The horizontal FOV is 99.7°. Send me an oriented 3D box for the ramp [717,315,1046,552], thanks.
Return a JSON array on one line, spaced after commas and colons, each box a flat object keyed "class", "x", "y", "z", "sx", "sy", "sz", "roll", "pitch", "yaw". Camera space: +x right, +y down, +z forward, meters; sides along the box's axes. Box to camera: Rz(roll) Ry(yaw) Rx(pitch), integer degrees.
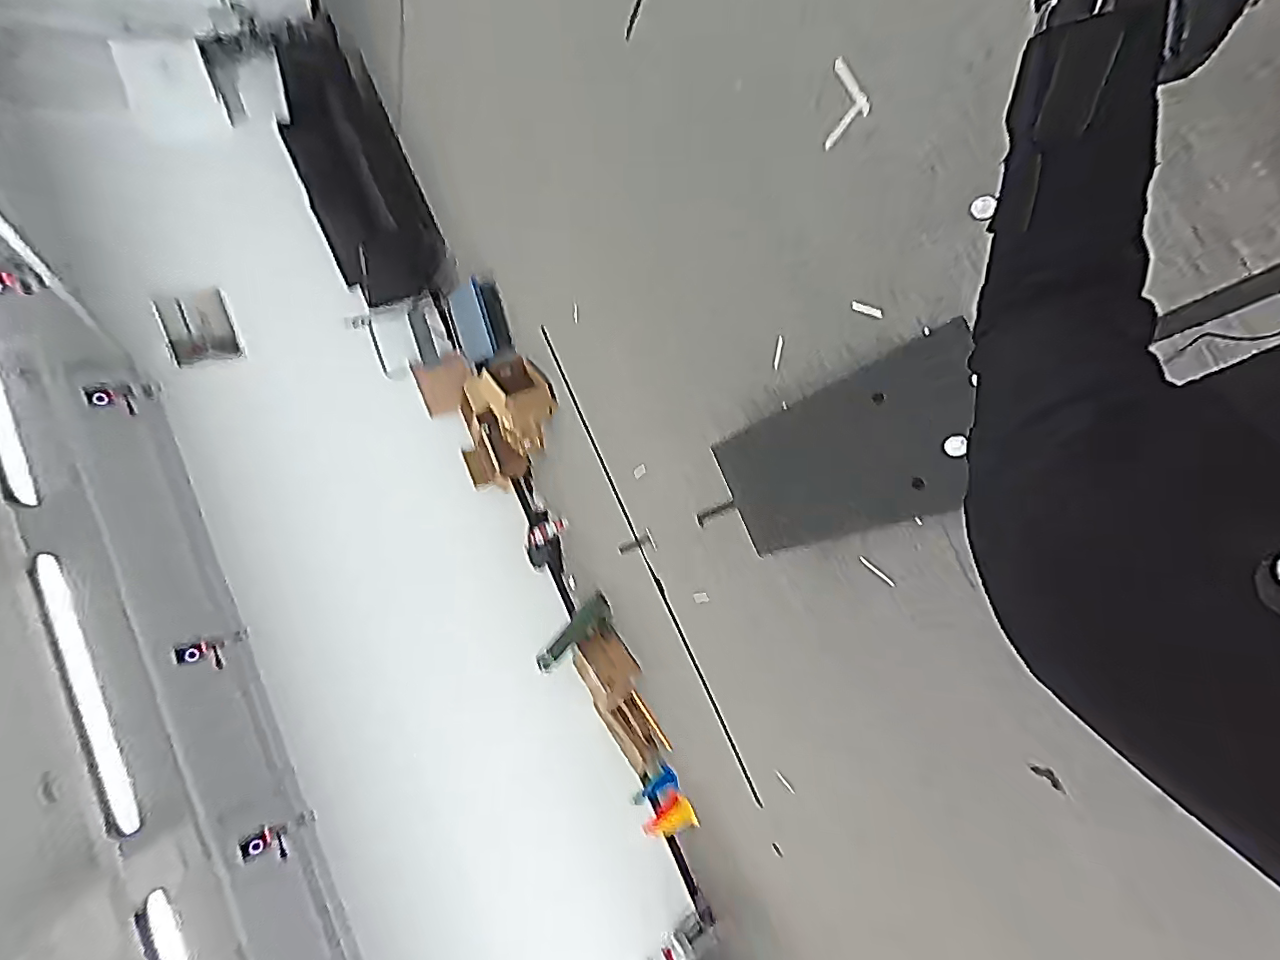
[{"class": "ramp", "x": 0.678, "y": -0.080, "z": 1.785, "sx": 0.991, "sy": 0.206, "sz": 0.509, "roll": -33, "pitch": 78, "yaw": 62}]
